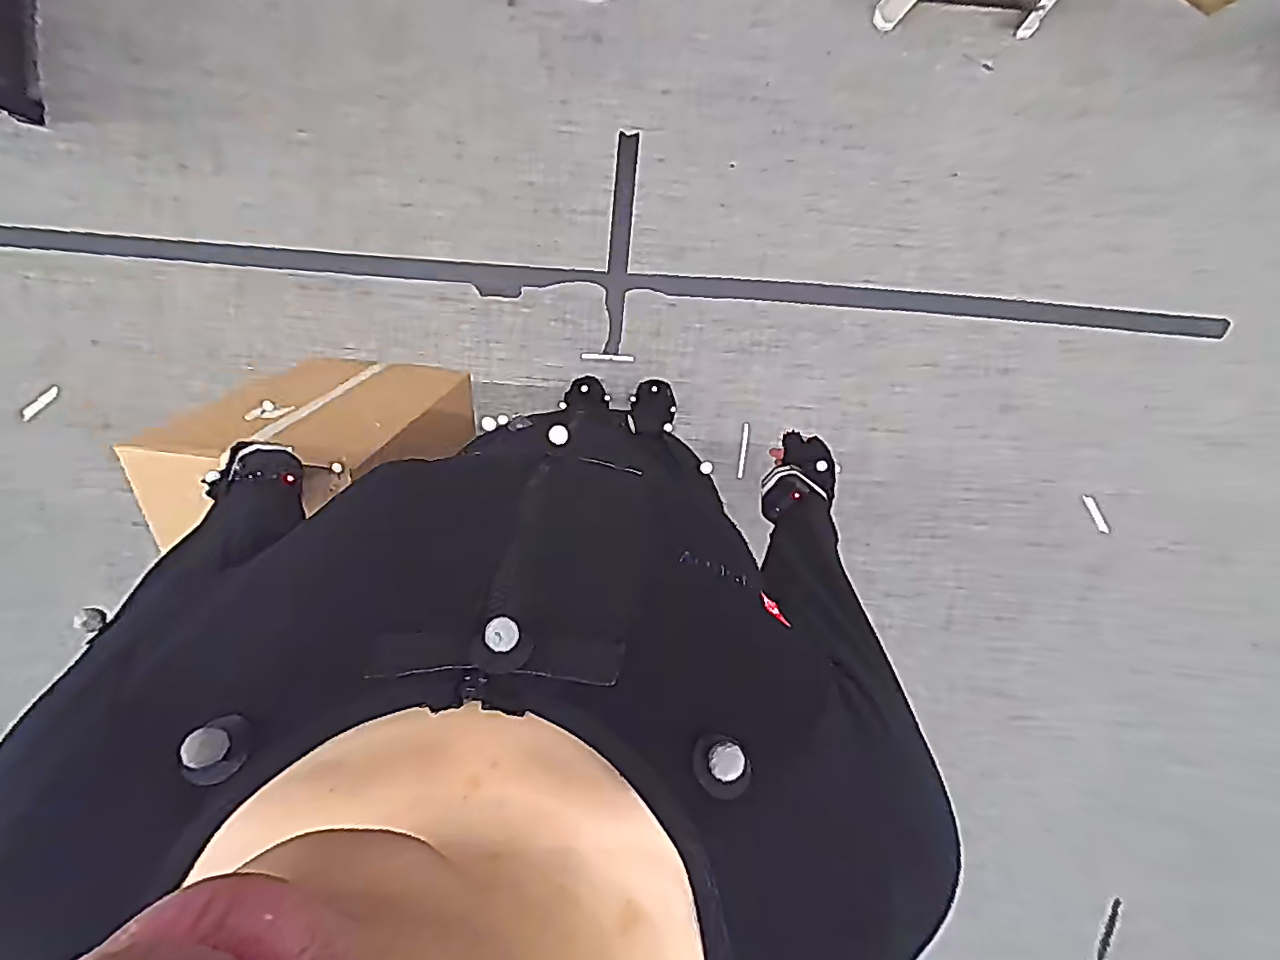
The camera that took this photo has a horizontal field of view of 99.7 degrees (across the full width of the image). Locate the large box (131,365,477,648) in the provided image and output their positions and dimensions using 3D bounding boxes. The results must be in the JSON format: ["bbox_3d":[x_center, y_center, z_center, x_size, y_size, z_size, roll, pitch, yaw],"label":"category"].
[{"bbox_3d":[-0.504,0.020,0.934,0.320,0.408,0.320,5,119,3],"label":"large box"}]
